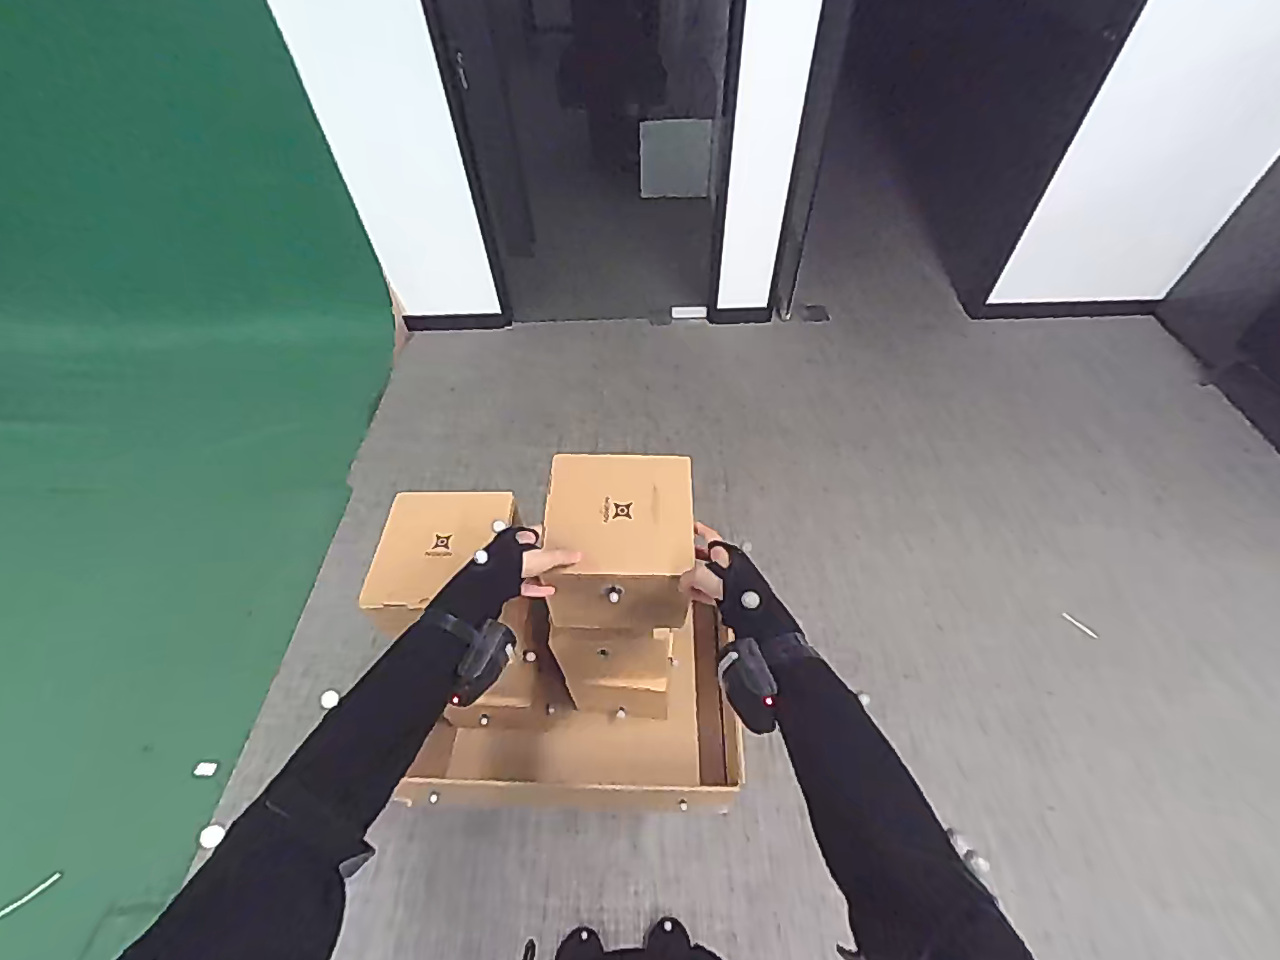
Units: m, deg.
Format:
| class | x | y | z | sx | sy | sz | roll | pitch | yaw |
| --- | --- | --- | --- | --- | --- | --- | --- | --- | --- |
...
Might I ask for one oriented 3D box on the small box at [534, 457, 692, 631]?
| class | x | y | z | sx | sy | sz | roll | pitch | yaw |
| --- | --- | --- | --- | --- | --- | --- | --- | --- | --- |
| small box | -0.027 | 0.087 | 0.698 | 0.179 | 0.176 | 0.168 | 2 | 54 | 0 |
